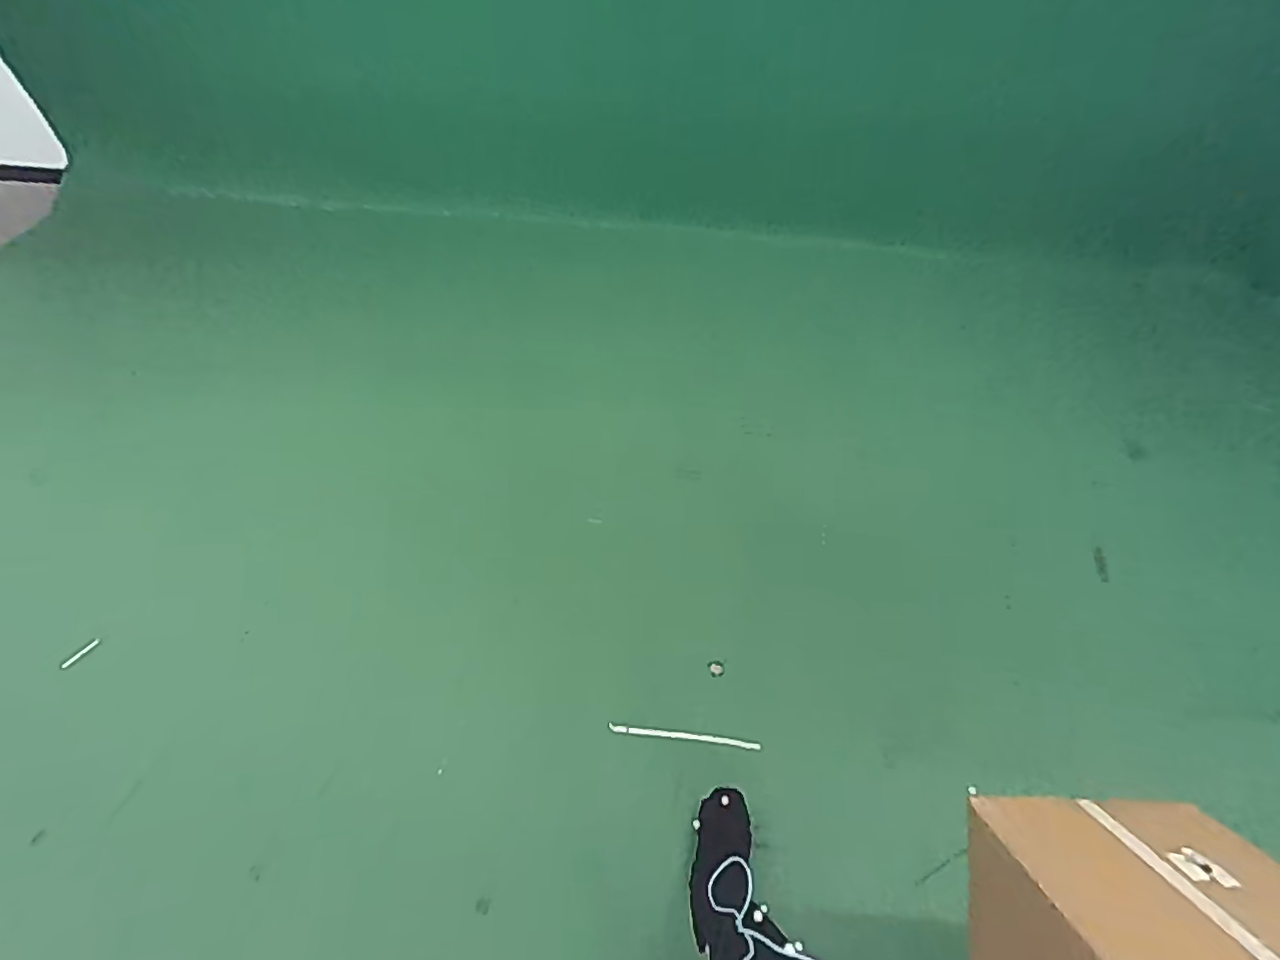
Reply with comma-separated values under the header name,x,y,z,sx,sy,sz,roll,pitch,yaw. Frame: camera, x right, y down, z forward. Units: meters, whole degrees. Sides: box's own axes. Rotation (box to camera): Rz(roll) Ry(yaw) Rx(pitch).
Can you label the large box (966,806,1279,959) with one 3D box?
name,x,y,z,sx,sy,sz,roll,pitch,yaw
large box,0.623,0.636,0.594,0.320,0.408,0.320,0,90,5
